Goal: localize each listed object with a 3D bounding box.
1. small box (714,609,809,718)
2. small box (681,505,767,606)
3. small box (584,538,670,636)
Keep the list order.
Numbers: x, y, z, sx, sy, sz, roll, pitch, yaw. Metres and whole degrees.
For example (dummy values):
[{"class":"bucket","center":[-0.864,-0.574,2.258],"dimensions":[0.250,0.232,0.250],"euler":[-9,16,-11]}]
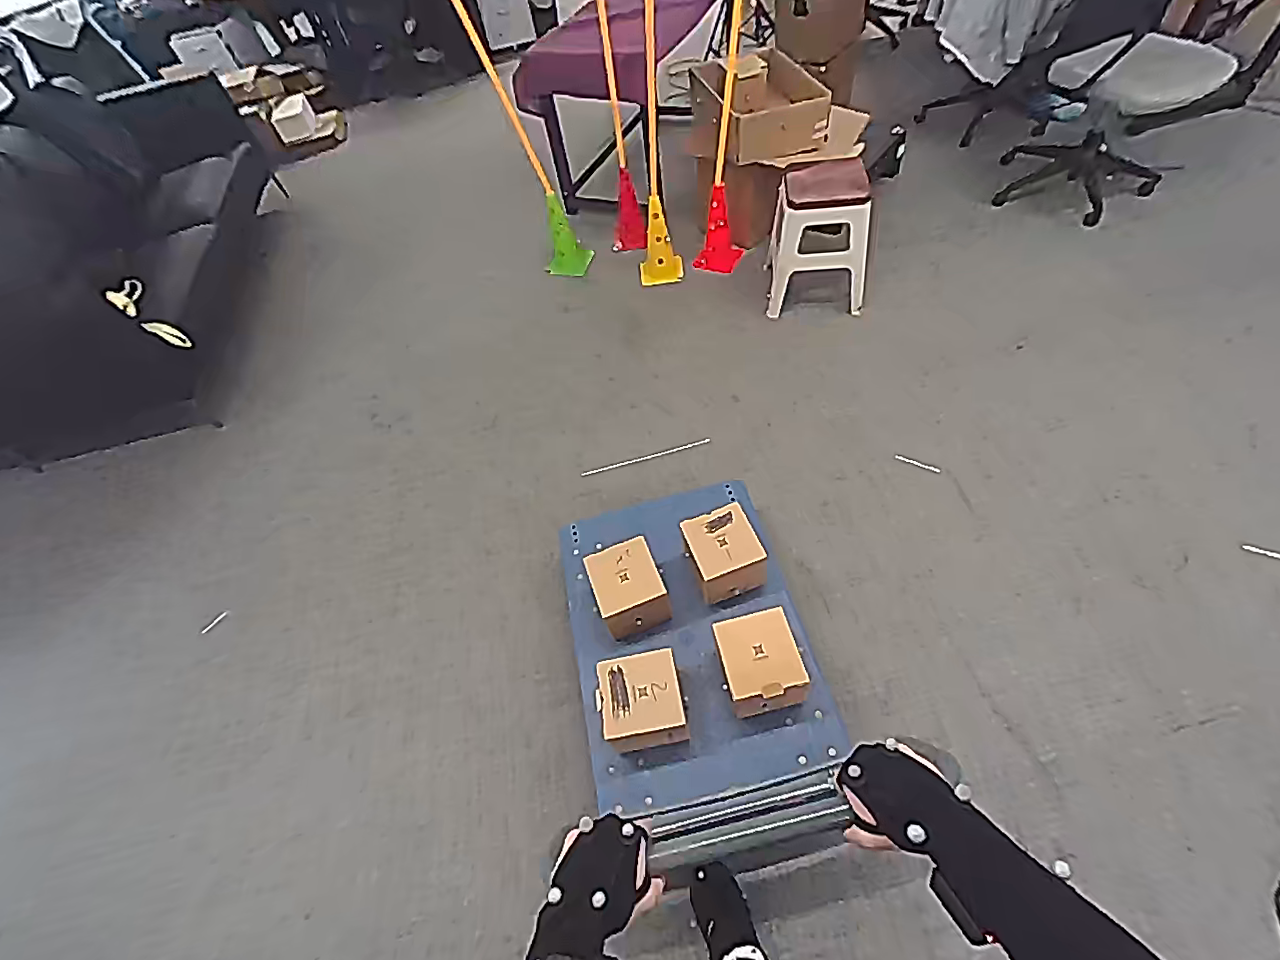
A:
[{"class":"small box","center":[0.271,0.425,1.245],"dimensions":[0.168,0.176,0.179],"euler":[-14,55,0]},{"class":"small box","center":[0.216,0.199,1.412],"dimensions":[0.168,0.176,0.179],"euler":[-20,55,-4]},{"class":"small box","center":[-0.029,0.284,1.393],"dimensions":[0.168,0.176,0.179],"euler":[-20,54,-6]}]
